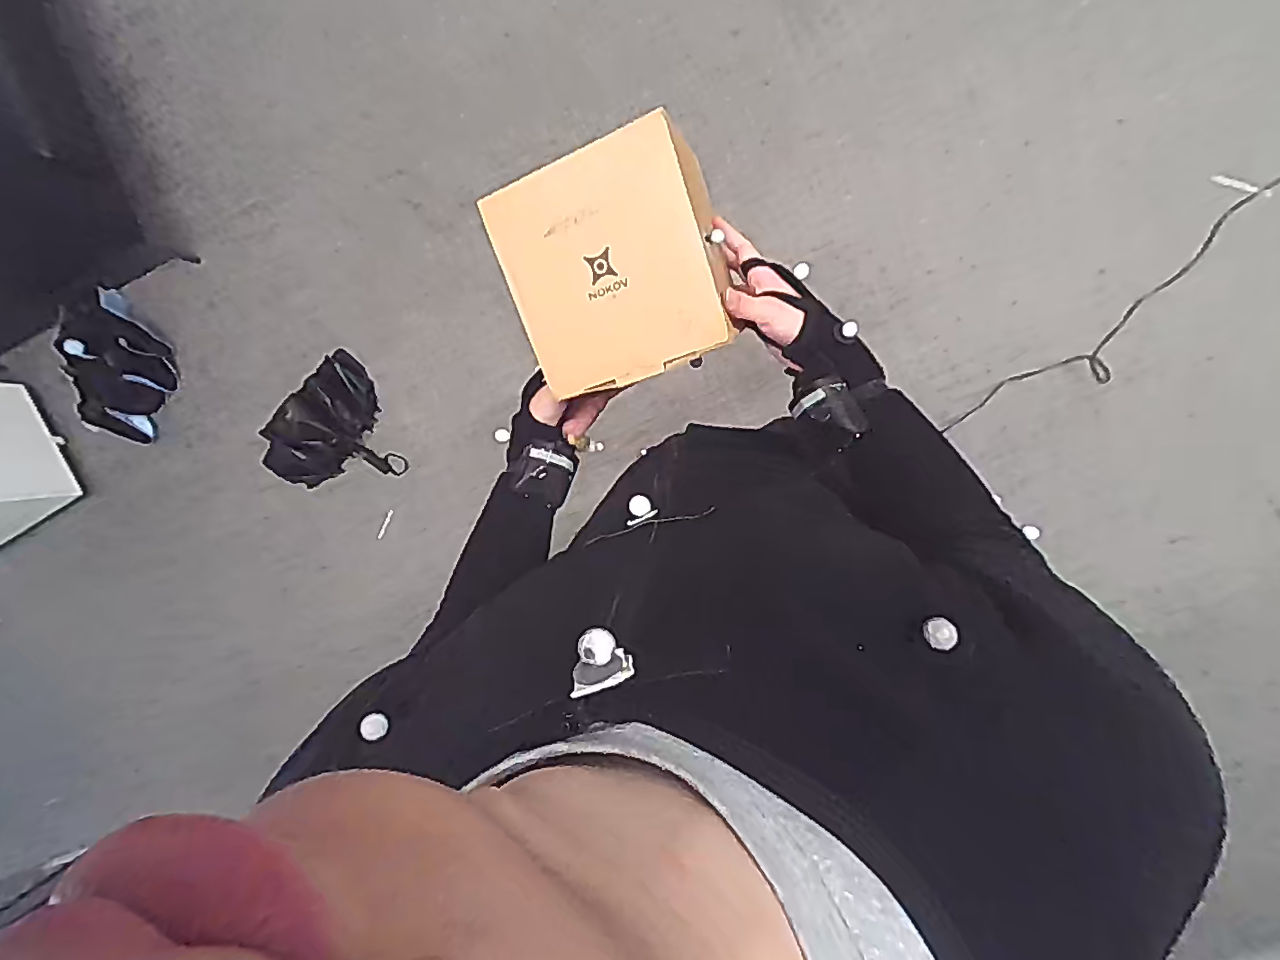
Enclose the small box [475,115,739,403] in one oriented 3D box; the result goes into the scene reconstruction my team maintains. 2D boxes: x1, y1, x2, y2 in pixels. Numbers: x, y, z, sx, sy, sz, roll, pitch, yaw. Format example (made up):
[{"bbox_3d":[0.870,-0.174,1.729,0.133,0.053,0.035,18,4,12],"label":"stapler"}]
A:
[{"bbox_3d":[-0.013,-0.192,0.505,0.168,0.176,0.179,-15,104,20],"label":"small box"}]
